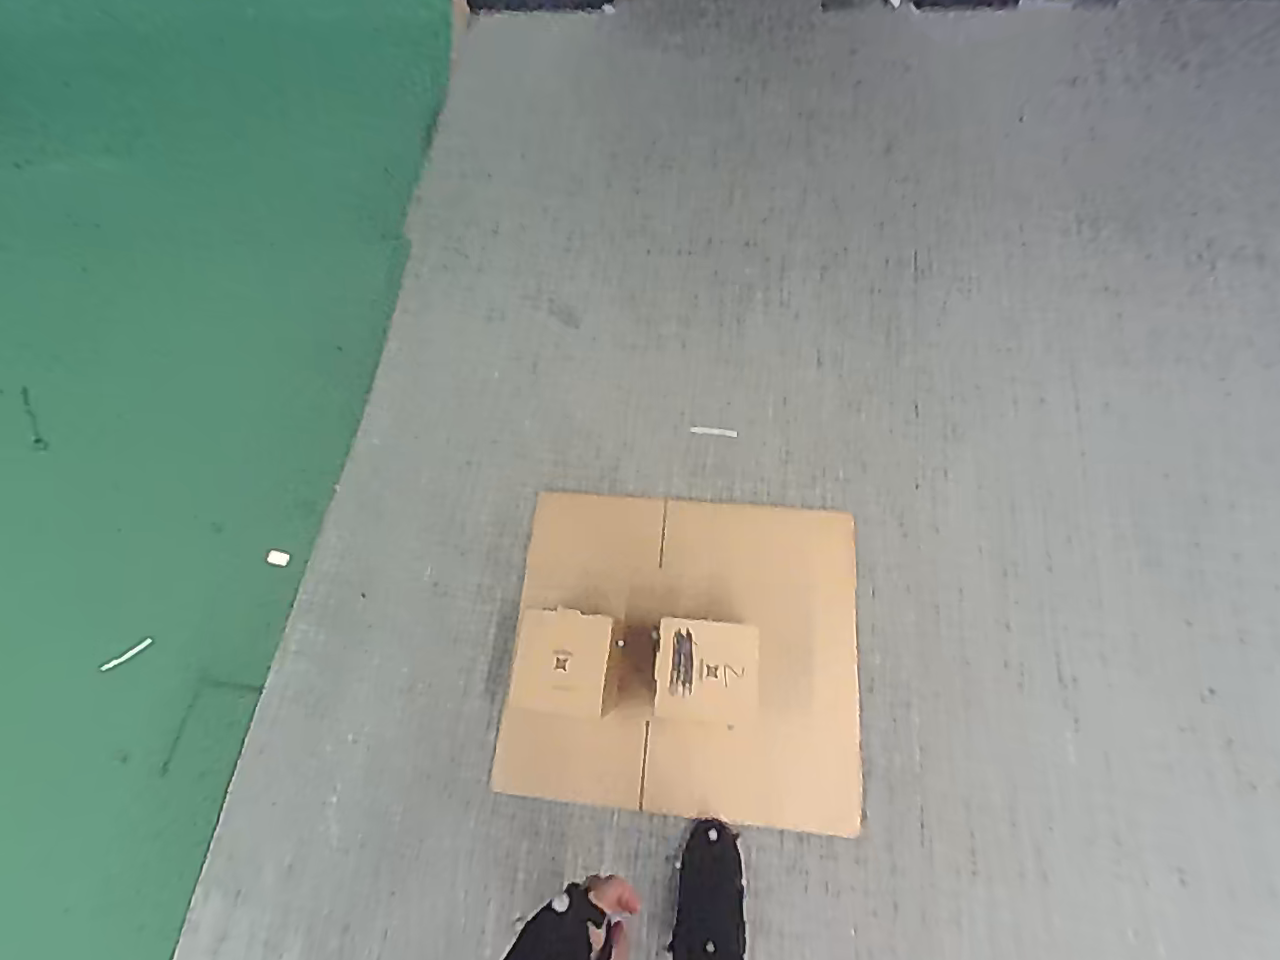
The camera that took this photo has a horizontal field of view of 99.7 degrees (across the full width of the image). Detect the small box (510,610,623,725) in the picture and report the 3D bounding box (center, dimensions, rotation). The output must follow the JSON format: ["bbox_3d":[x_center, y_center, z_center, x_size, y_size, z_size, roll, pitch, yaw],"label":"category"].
[{"bbox_3d":[-0.129,0.351,1.022,0.168,0.176,0.179,4,73,7],"label":"small box"}]
